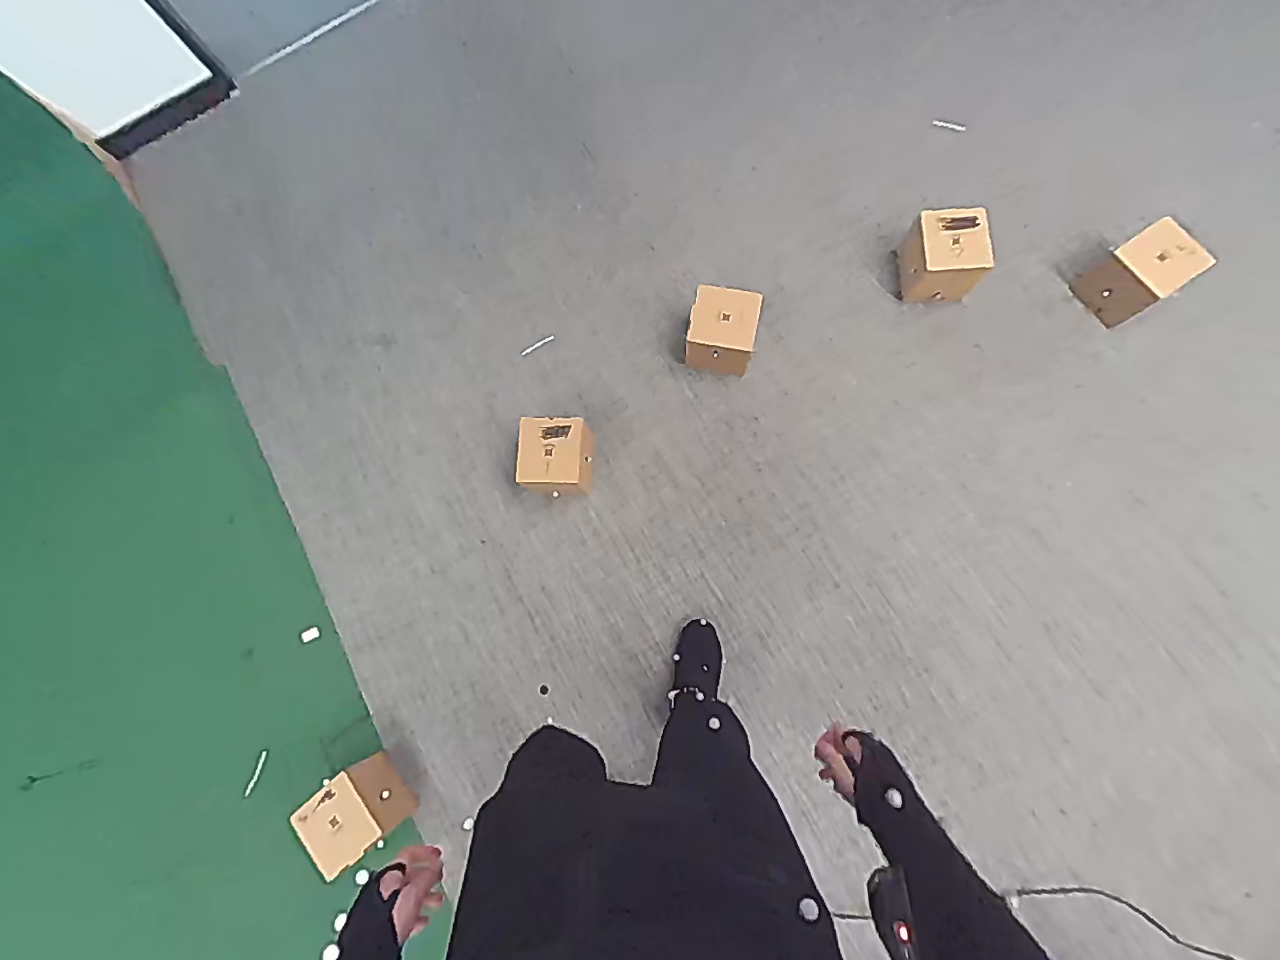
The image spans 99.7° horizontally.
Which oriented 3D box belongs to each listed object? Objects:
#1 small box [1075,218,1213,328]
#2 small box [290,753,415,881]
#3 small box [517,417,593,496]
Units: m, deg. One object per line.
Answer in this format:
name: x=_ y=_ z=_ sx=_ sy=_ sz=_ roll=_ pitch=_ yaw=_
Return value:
small box: x=1.302 y=-0.533 z=1.419 sx=0.179 sy=0.176 sz=0.168 roll=-34 pitch=78 yaw=-2
small box: x=-0.691 y=0.810 z=1.322 sx=0.168 sy=0.176 sz=0.179 roll=-41 pitch=78 yaw=-4
small box: x=-0.222 y=-0.060 z=1.458 sx=0.168 sy=0.176 sz=0.179 roll=1 pitch=79 yaw=6
